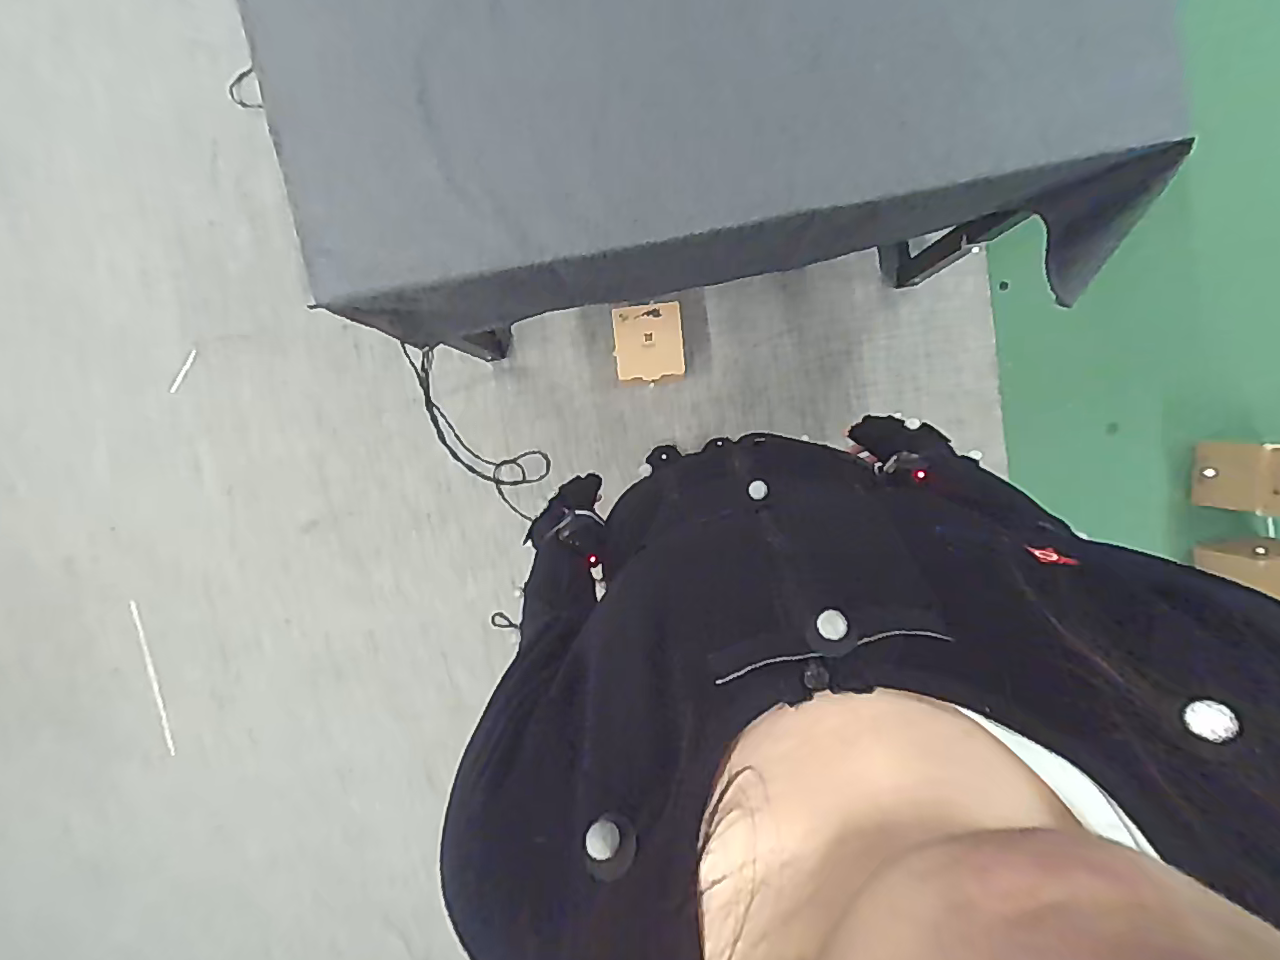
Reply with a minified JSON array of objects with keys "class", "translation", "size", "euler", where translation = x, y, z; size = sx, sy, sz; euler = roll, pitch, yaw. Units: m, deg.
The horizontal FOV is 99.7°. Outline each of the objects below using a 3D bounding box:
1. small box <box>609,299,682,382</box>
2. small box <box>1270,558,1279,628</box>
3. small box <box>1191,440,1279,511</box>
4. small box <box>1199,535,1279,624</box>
[{"class":"small box","translation":[0.019,-0.343,1.366],"size":[0.168,0.176,0.179],"euler":[-5,95,3]},{"class":"small box","translation":[1.571,0.264,1.200],"size":[0.168,0.176,0.179],"euler":[-9,95,3]},{"class":"small box","translation":[1.546,-0.013,1.341],"size":[0.179,0.176,0.168],"euler":[2,94,3]},{"class":"small box","translation":[1.571,0.244,1.361],"size":[0.179,0.176,0.168],"euler":[-11,94,2]}]
